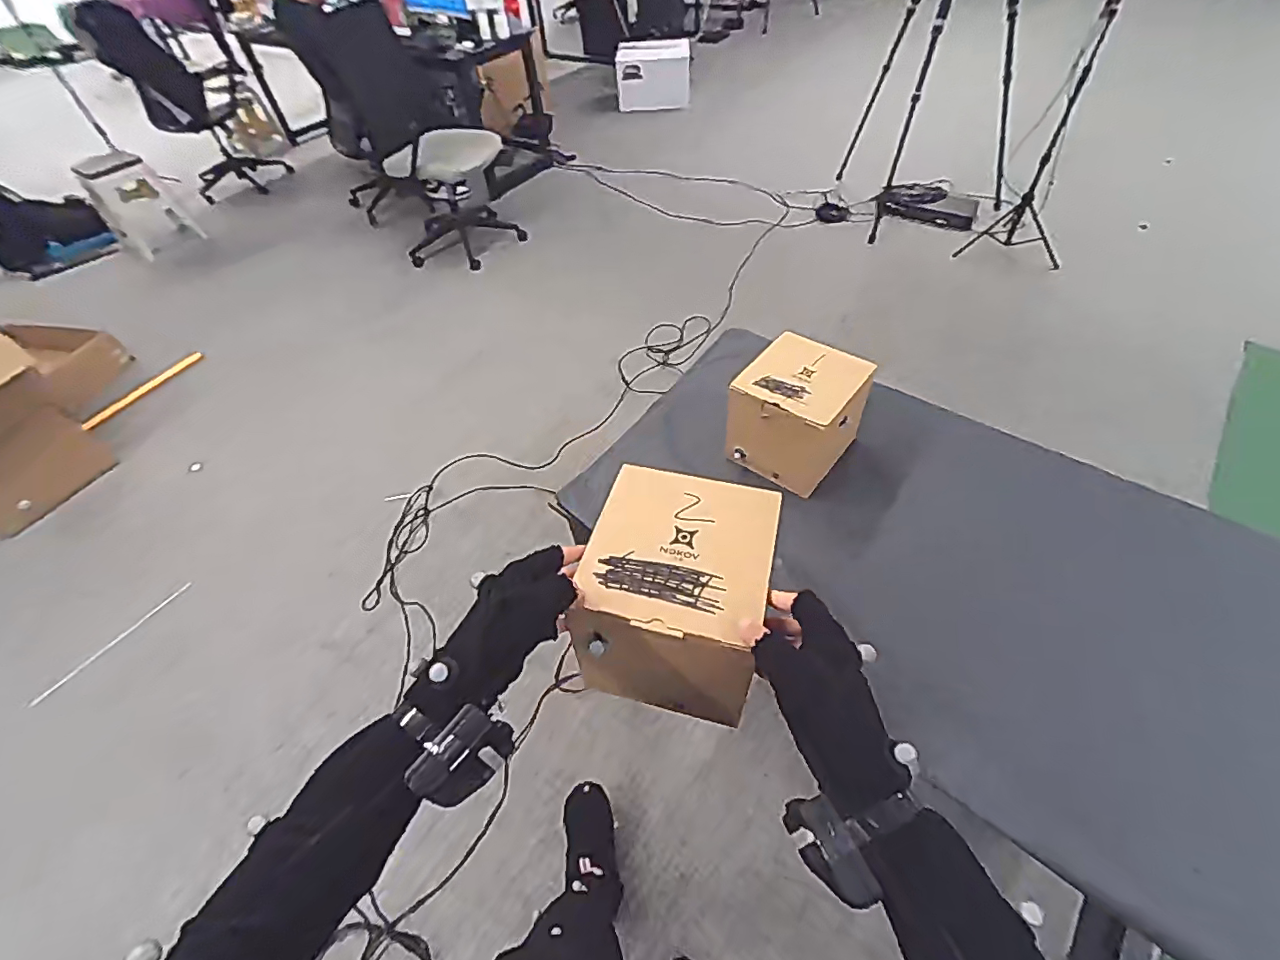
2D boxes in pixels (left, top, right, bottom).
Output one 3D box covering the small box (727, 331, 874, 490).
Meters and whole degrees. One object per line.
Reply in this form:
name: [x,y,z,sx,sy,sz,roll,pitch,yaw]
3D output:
small box: [0.261,-0.114,0.911,0.168,0.176,0.179,31,59,26]
